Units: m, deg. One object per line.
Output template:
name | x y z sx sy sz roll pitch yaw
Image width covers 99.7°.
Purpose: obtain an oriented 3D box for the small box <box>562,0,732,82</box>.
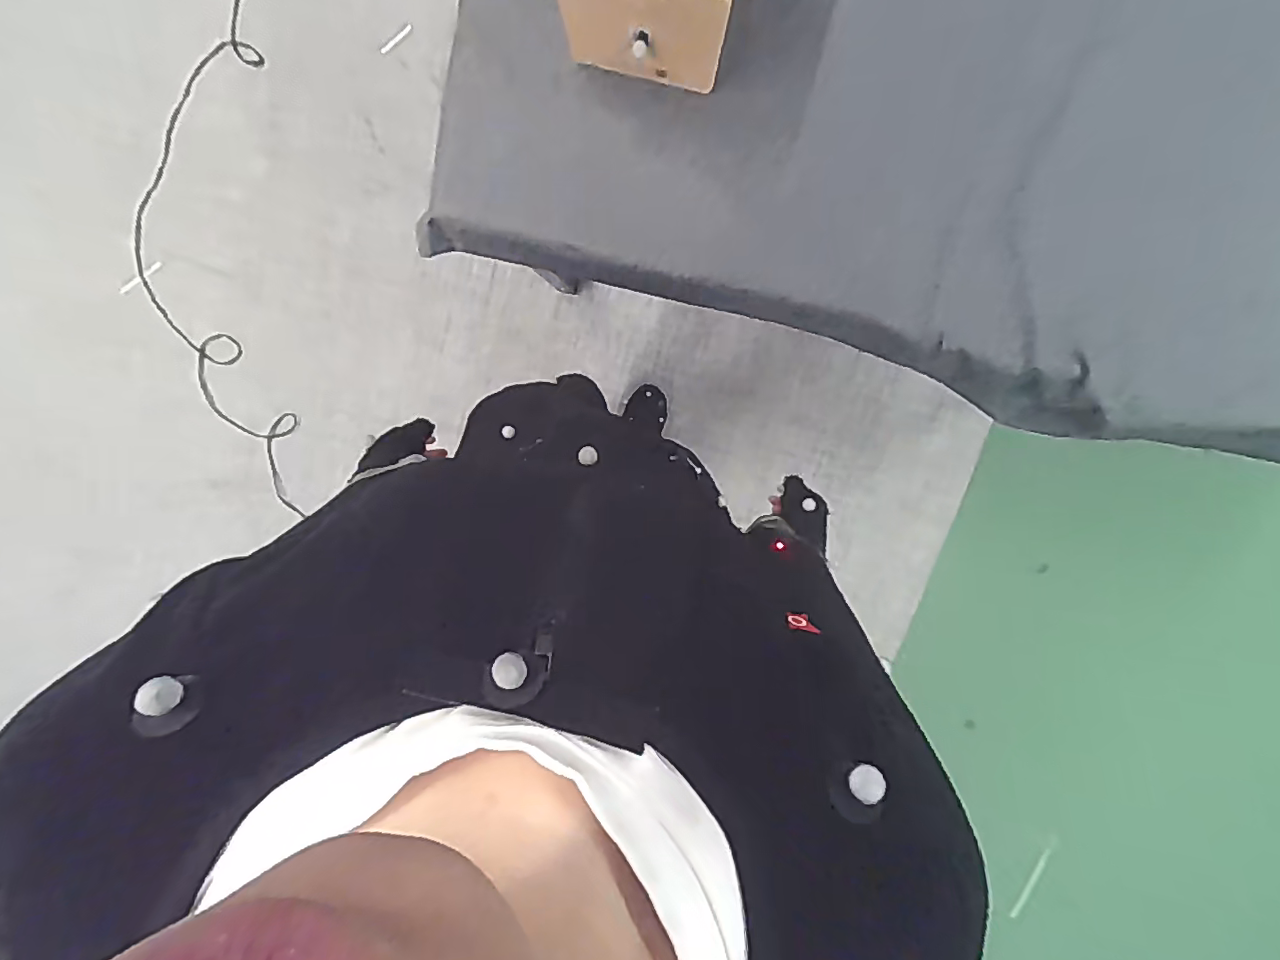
small box | 0.019 -0.540 0.534 0.168 0.176 0.179 13 102 0
